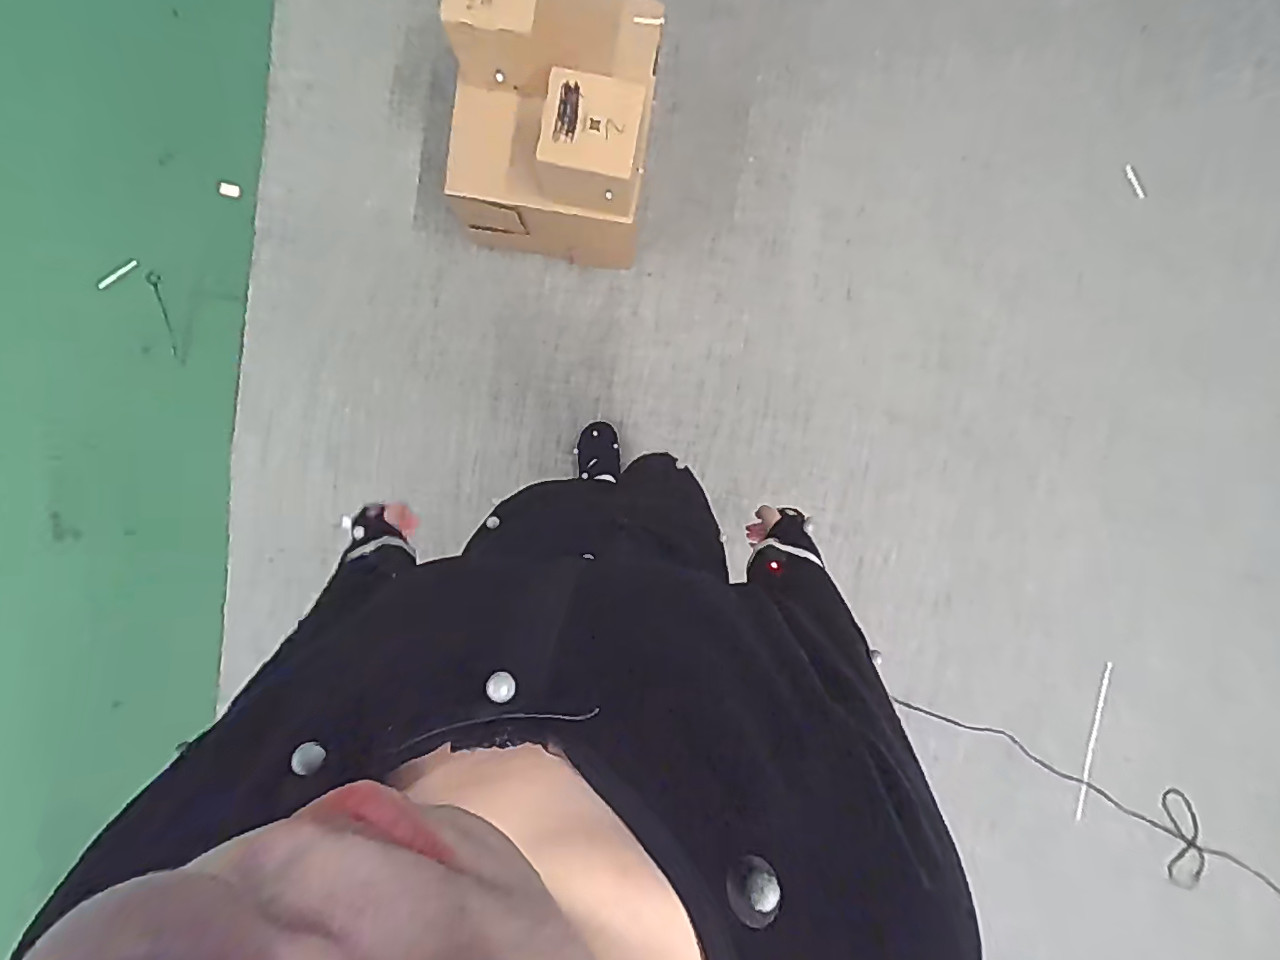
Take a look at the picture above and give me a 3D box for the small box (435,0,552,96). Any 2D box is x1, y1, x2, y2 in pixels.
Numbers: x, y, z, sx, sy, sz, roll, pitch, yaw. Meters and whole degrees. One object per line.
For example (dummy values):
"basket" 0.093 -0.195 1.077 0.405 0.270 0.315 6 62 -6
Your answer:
"small box" -0.268 -0.886 1.028 0.168 0.176 0.179 9 92 -1
